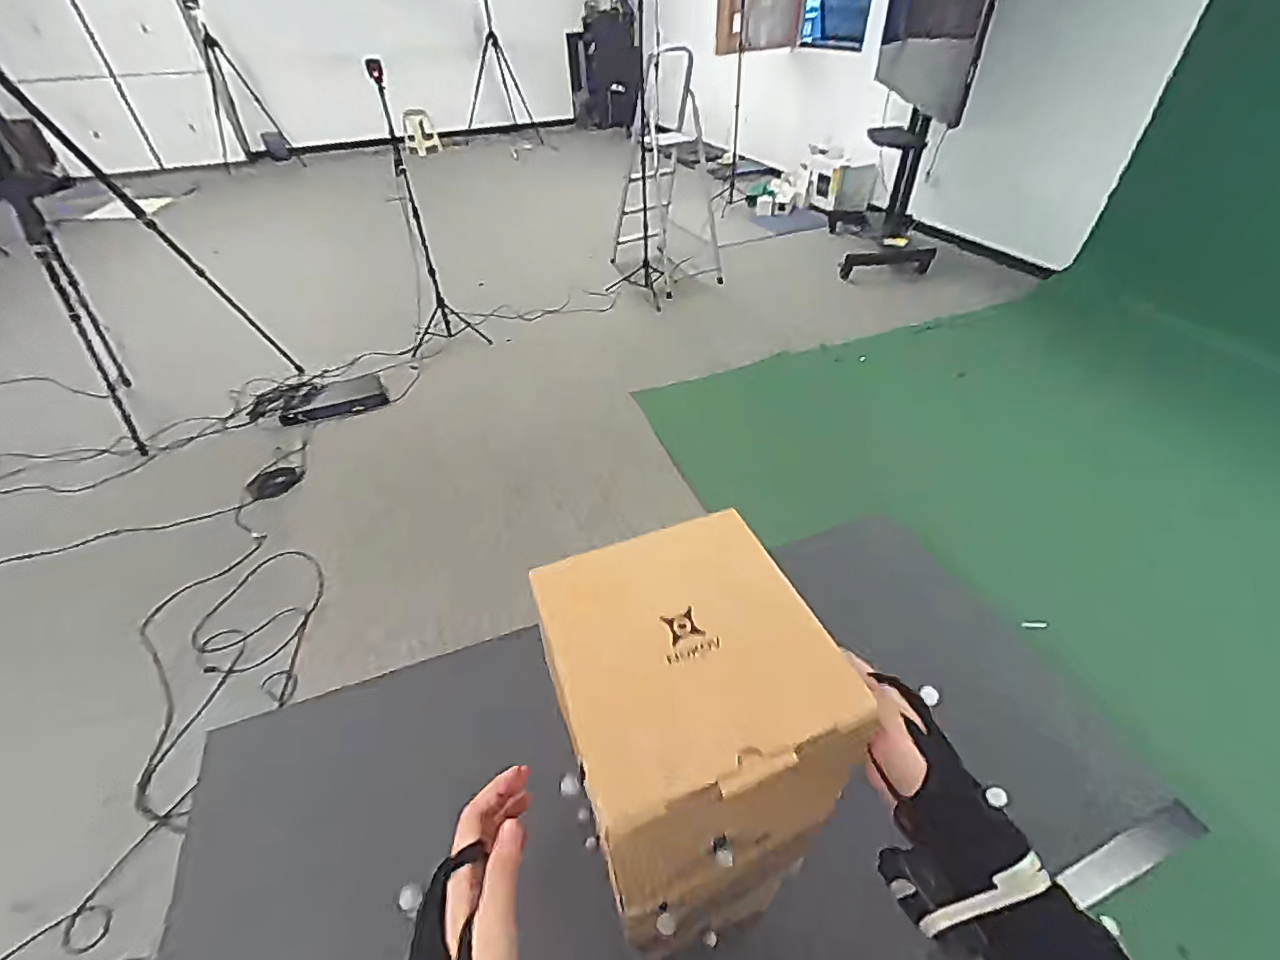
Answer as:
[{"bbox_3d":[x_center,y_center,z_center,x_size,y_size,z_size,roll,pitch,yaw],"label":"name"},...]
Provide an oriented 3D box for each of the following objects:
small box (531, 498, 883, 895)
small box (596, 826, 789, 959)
[{"bbox_3d":[0.030,0.145,0.385,0.168,0.176,0.179,-16,42,-15],"label":"small box"},{"bbox_3d":[0.039,0.388,0.603,0.168,0.176,0.179,-15,42,-13],"label":"small box"}]
